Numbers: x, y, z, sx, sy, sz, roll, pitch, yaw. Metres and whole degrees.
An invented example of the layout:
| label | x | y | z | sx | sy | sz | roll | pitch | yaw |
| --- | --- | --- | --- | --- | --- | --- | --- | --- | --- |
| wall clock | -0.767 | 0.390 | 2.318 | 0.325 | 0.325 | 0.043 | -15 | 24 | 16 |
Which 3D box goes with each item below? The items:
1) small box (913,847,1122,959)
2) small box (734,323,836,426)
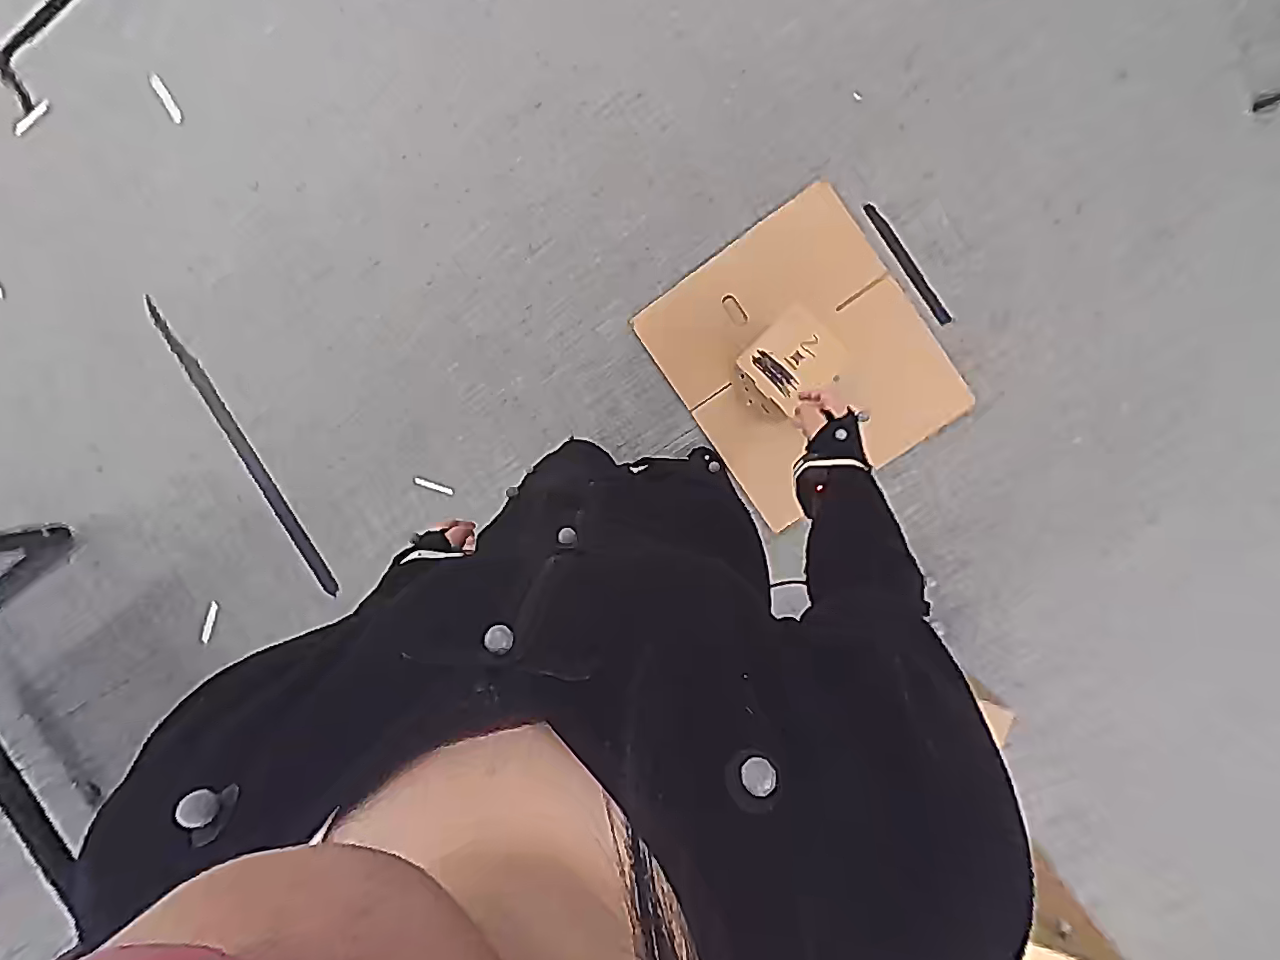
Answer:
| label | x | y | z | sx | sy | sz | roll | pitch | yaw |
| --- | --- | --- | --- | --- | --- | --- | --- | --- | --- |
| small box | 0.513 | 0.658 | 0.750 | 0.179 | 0.176 | 0.168 | 17 | 96 | 5 |
| small box | 0.344 | -0.251 | 1.329 | 0.179 | 0.176 | 0.168 | -42 | 86 | 9 |
